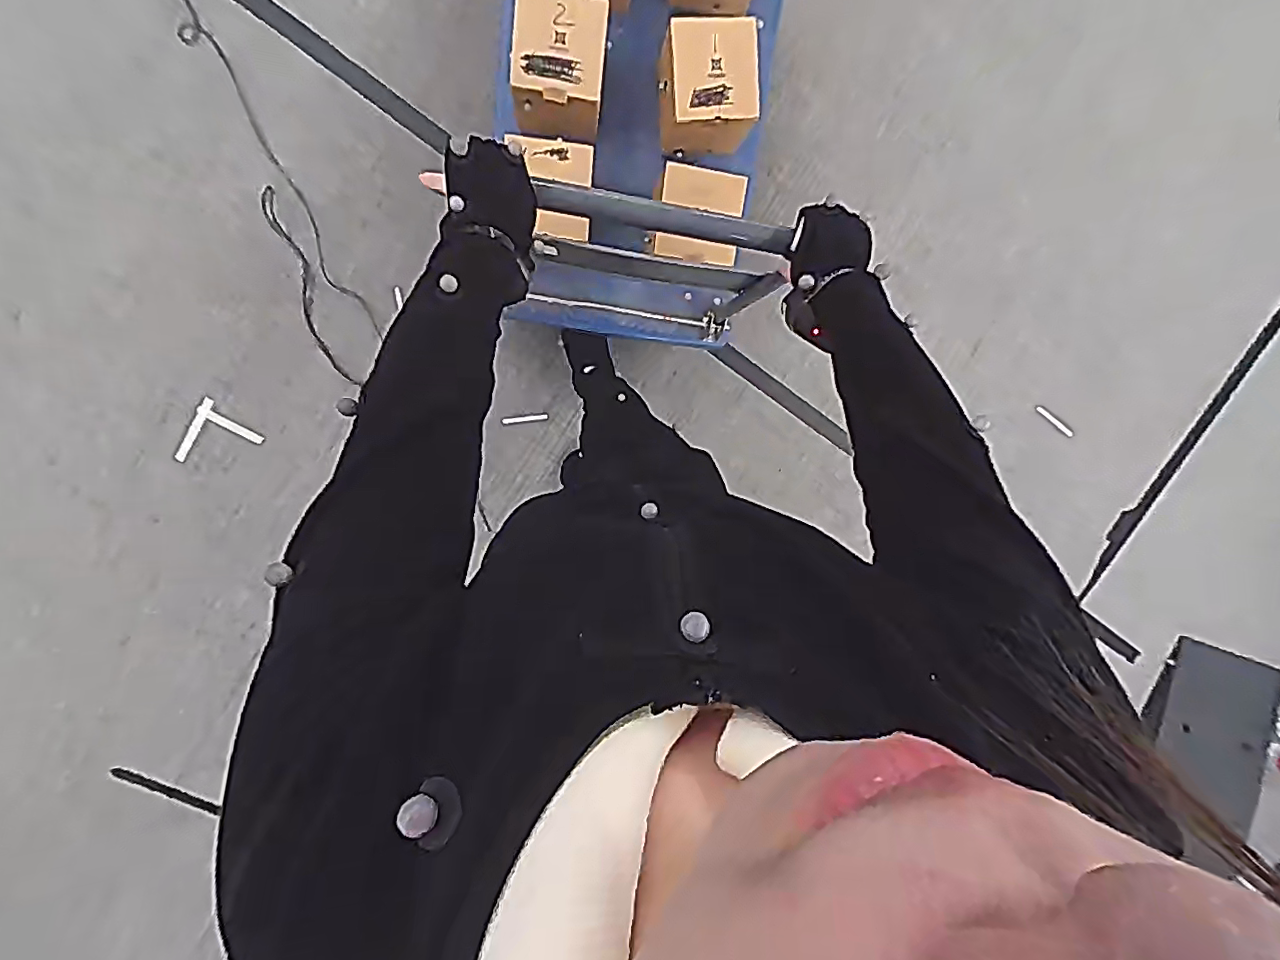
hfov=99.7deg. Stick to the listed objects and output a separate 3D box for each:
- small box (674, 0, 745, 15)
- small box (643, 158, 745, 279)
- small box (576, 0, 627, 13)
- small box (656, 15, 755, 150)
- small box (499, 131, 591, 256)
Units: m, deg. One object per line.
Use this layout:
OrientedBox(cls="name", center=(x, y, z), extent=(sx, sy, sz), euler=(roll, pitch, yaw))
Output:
OrientedBox(cls="small box", center=(0.148, -1.059, 1.050), extent=(0.168, 0.176, 0.179), euler=(4, 100, -8))
OrientedBox(cls="small box", center=(0.105, -0.538, 1.140), extent=(0.168, 0.176, 0.179), euler=(7, 99, -9))
OrientedBox(cls="small box", center=(-0.085, -1.048, 1.018), extent=(0.168, 0.176, 0.179), euler=(8, 100, -9))
OrientedBox(cls="small box", center=(0.127, -0.791, 1.096), extent=(0.168, 0.176, 0.179), euler=(-5, 100, -7))
OrientedBox(cls="small box", center=(-0.188, -0.566, 1.095), extent=(0.168, 0.176, 0.179), euler=(3, 100, -9))
